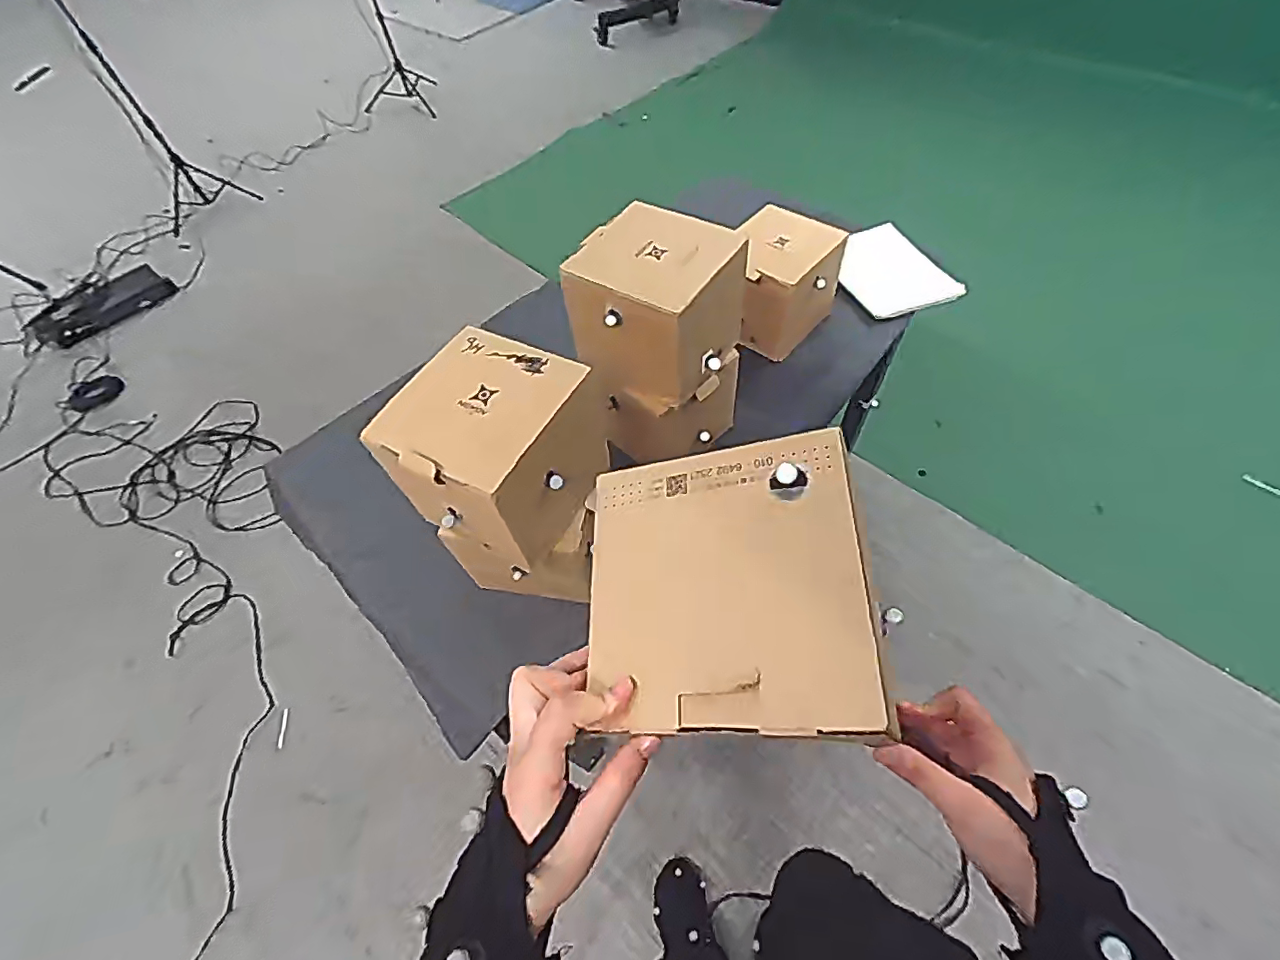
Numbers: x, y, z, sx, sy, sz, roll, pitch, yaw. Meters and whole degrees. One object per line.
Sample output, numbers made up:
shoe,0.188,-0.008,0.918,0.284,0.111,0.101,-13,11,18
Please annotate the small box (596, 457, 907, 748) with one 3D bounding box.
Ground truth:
small box,0.082,0.094,0.385,0.168,0.179,0.176,-12,61,24

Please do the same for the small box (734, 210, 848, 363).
small box,0.244,-0.350,0.984,0.168,0.176,0.179,34,66,25

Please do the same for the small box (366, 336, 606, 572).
small box,-0.152,-0.024,0.606,0.168,0.176,0.179,22,62,19

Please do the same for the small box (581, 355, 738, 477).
small box,0.033,-0.130,0.857,0.168,0.176,0.179,-41,62,-19

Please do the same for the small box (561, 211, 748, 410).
small box,0.024,-0.222,0.723,0.179,0.176,0.168,27,64,22
